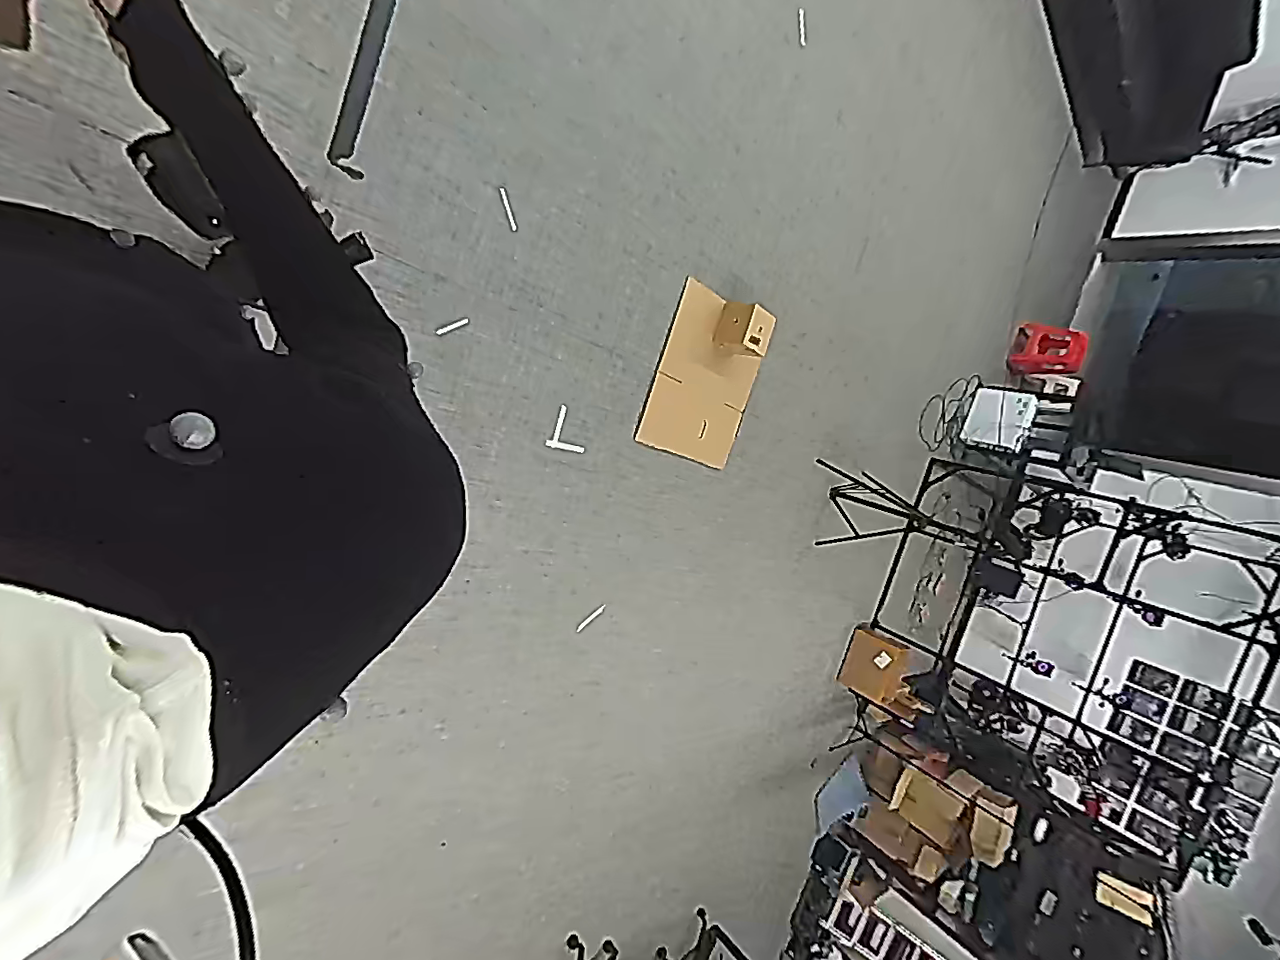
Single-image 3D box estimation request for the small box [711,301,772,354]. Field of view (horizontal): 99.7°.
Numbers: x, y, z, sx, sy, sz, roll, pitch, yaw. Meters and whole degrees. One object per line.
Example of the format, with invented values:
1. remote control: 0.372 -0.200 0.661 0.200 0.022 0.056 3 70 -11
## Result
1. small box: 0.432 -0.657 2.327 0.168 0.176 0.179 15 94 -44
